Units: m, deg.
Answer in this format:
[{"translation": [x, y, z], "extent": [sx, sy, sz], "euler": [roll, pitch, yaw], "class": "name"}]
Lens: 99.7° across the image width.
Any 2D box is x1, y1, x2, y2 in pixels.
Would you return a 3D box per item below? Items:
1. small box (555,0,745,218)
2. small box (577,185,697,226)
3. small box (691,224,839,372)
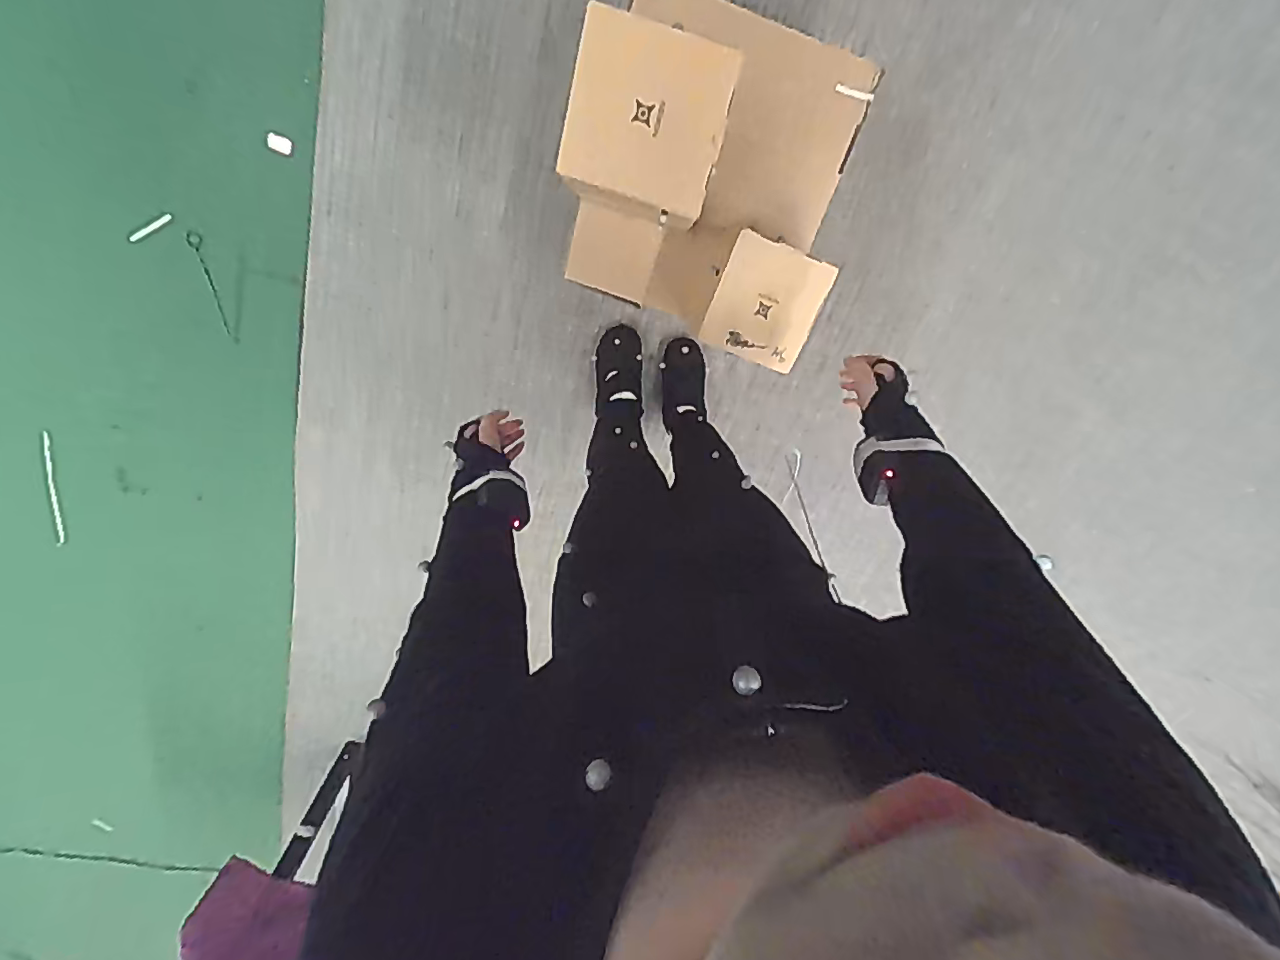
[{"translation": [0.008, -0.437, 0.671], "extent": [0.179, 0.176, 0.168], "euler": [15, 112, -6], "class": "small box"}, {"translation": [0.014, -0.497, 0.822], "extent": [0.179, 0.176, 0.168], "euler": [15, 112, -5], "class": "small box"}, {"translation": [0.193, -0.306, 0.903], "extent": [0.168, 0.176, 0.179], "euler": [20, 112, -9], "class": "small box"}]
